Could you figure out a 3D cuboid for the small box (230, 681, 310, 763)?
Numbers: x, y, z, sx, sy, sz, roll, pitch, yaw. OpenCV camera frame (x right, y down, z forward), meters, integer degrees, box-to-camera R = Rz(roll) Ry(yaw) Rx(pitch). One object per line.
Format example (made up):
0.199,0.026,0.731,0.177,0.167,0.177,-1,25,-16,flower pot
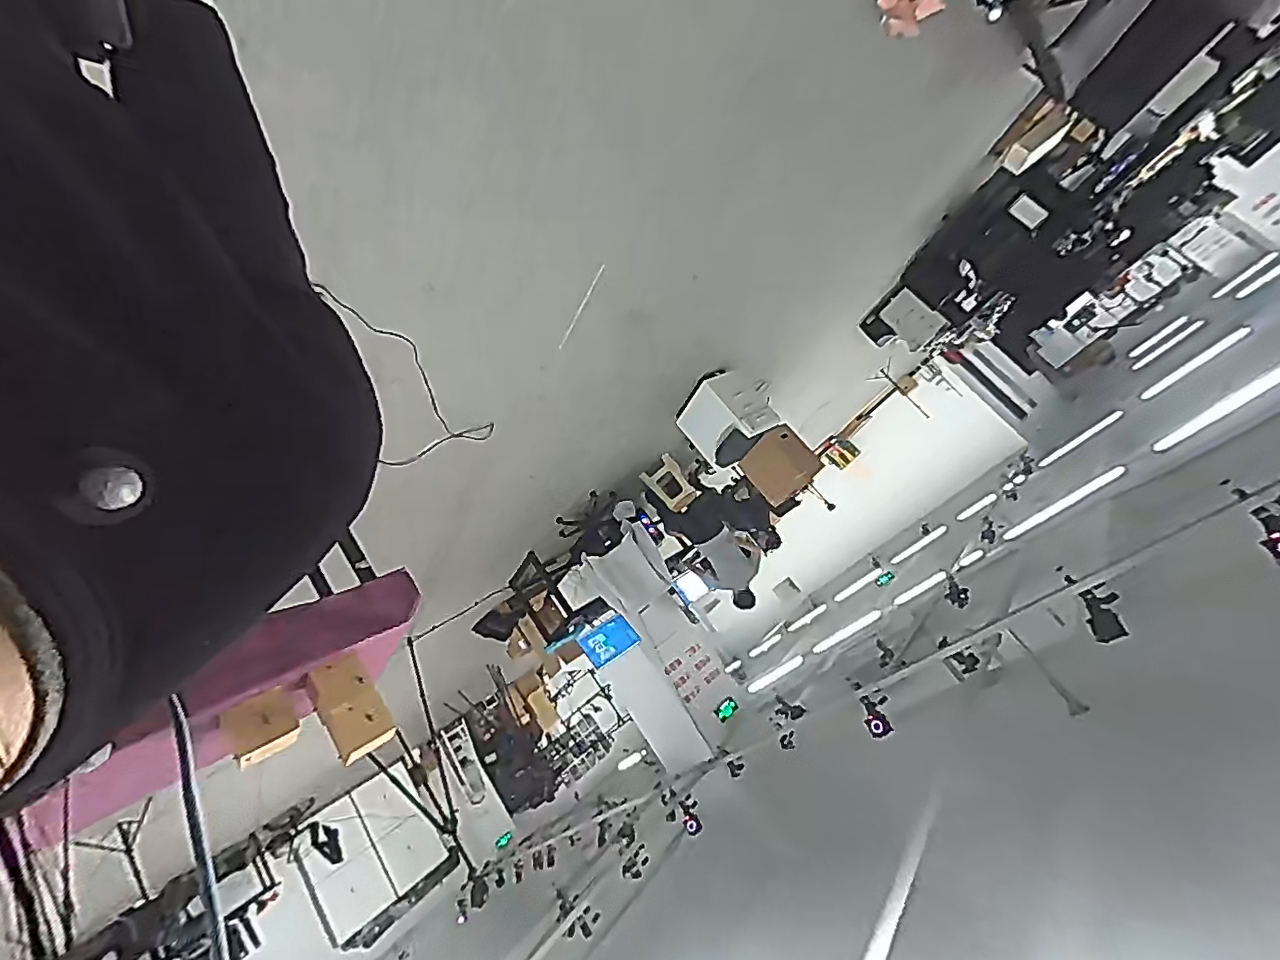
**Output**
-1.256,0.815,1.832,0.179,0.176,0.168,-20,157,-46,small box

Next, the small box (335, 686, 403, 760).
-0.997,0.883,1.980,0.168,0.176,0.179,-21,159,-43,small box
